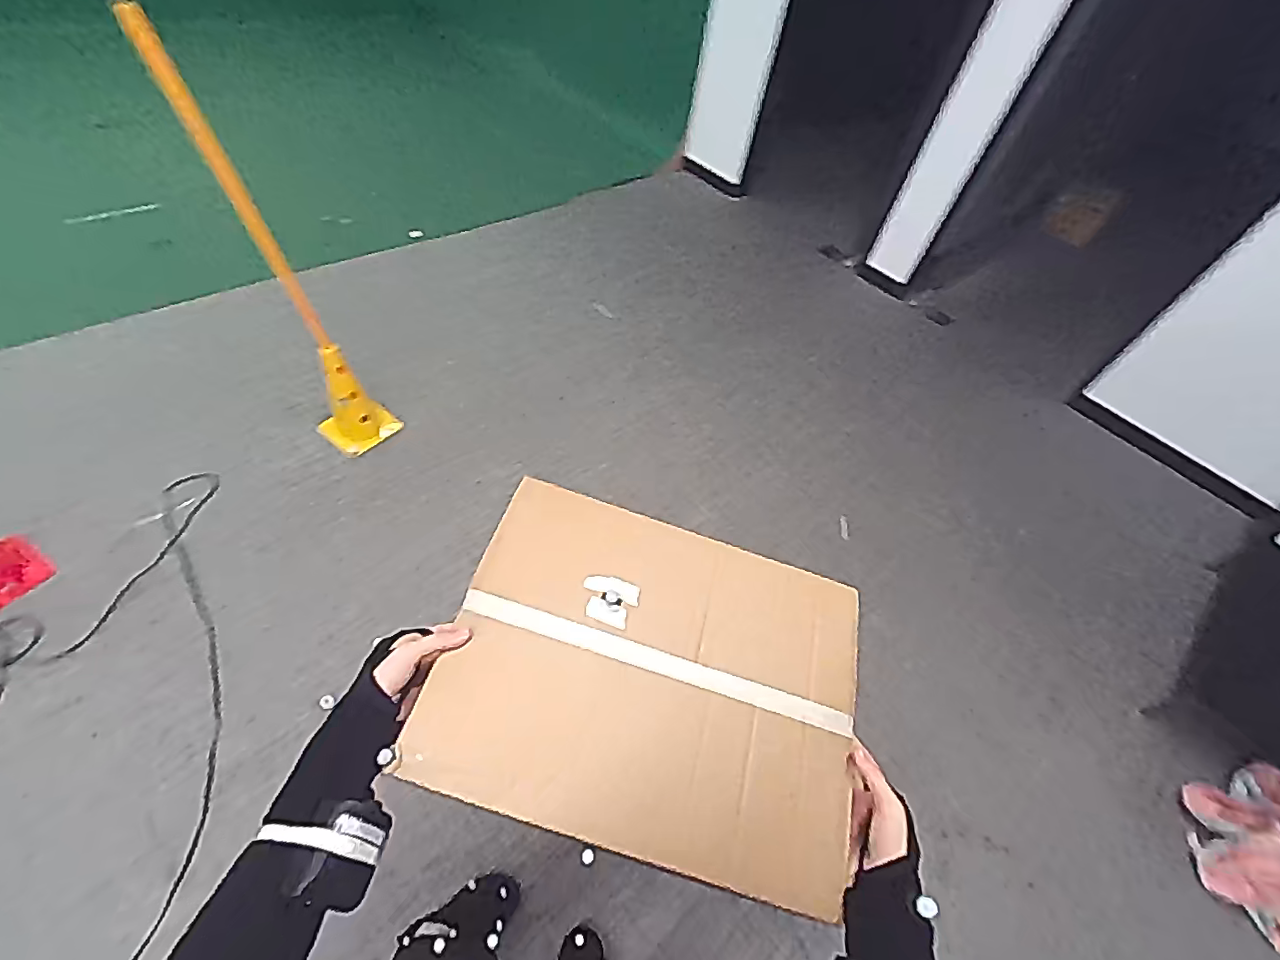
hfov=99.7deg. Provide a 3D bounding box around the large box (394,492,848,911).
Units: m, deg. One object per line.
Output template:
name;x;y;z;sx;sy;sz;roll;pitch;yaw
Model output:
large box;-0.008;0.268;0.667;0.408;0.320;0.320;18;56;0
